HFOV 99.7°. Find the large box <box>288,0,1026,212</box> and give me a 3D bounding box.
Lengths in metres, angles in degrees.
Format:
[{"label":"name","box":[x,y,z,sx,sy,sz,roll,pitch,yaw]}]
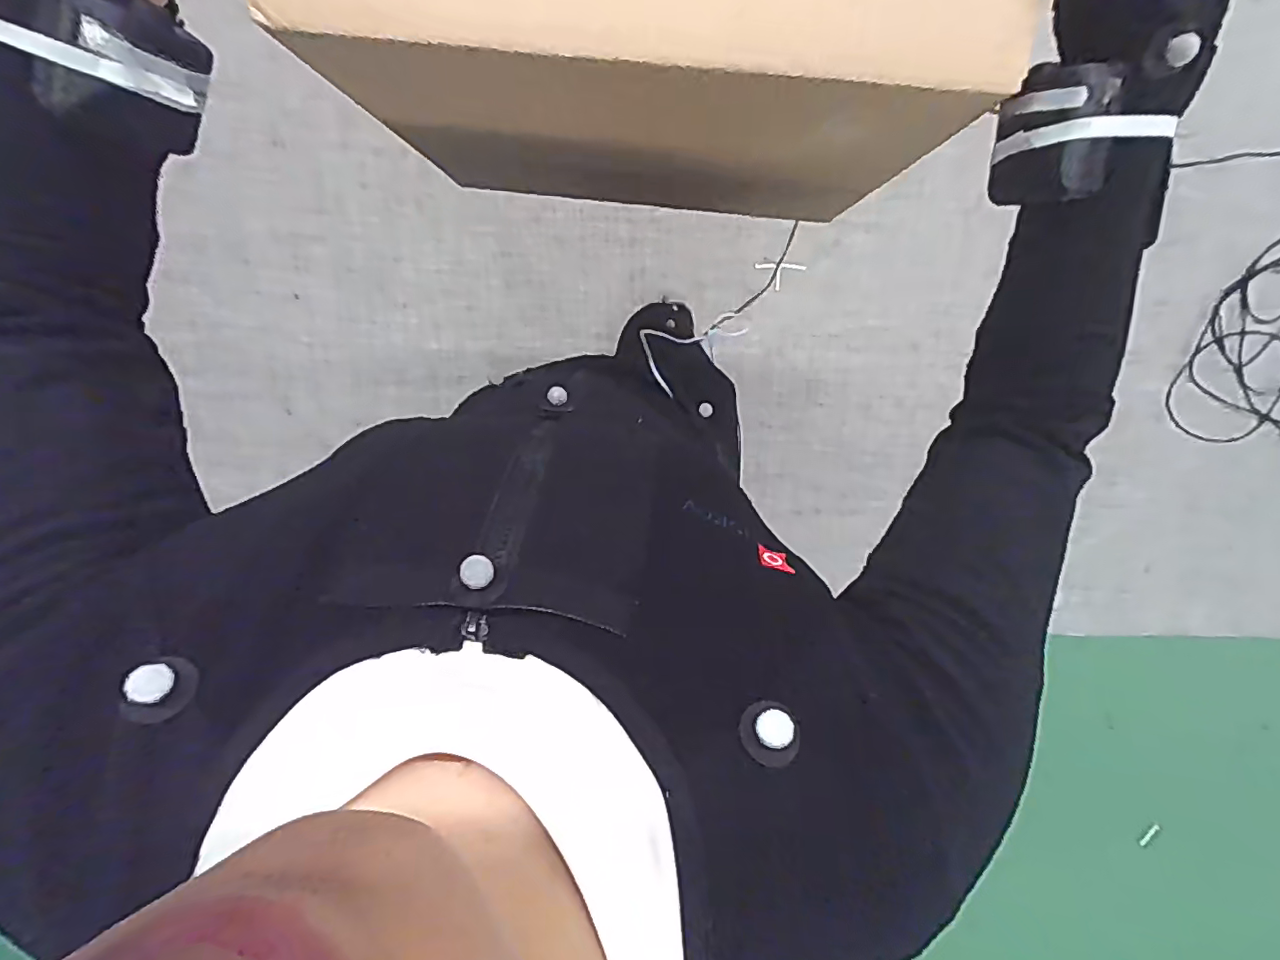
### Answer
[{"label":"large box","box":[0.017,-0.413,0.405,0.408,0.320,0.320,5,105,0]}]
